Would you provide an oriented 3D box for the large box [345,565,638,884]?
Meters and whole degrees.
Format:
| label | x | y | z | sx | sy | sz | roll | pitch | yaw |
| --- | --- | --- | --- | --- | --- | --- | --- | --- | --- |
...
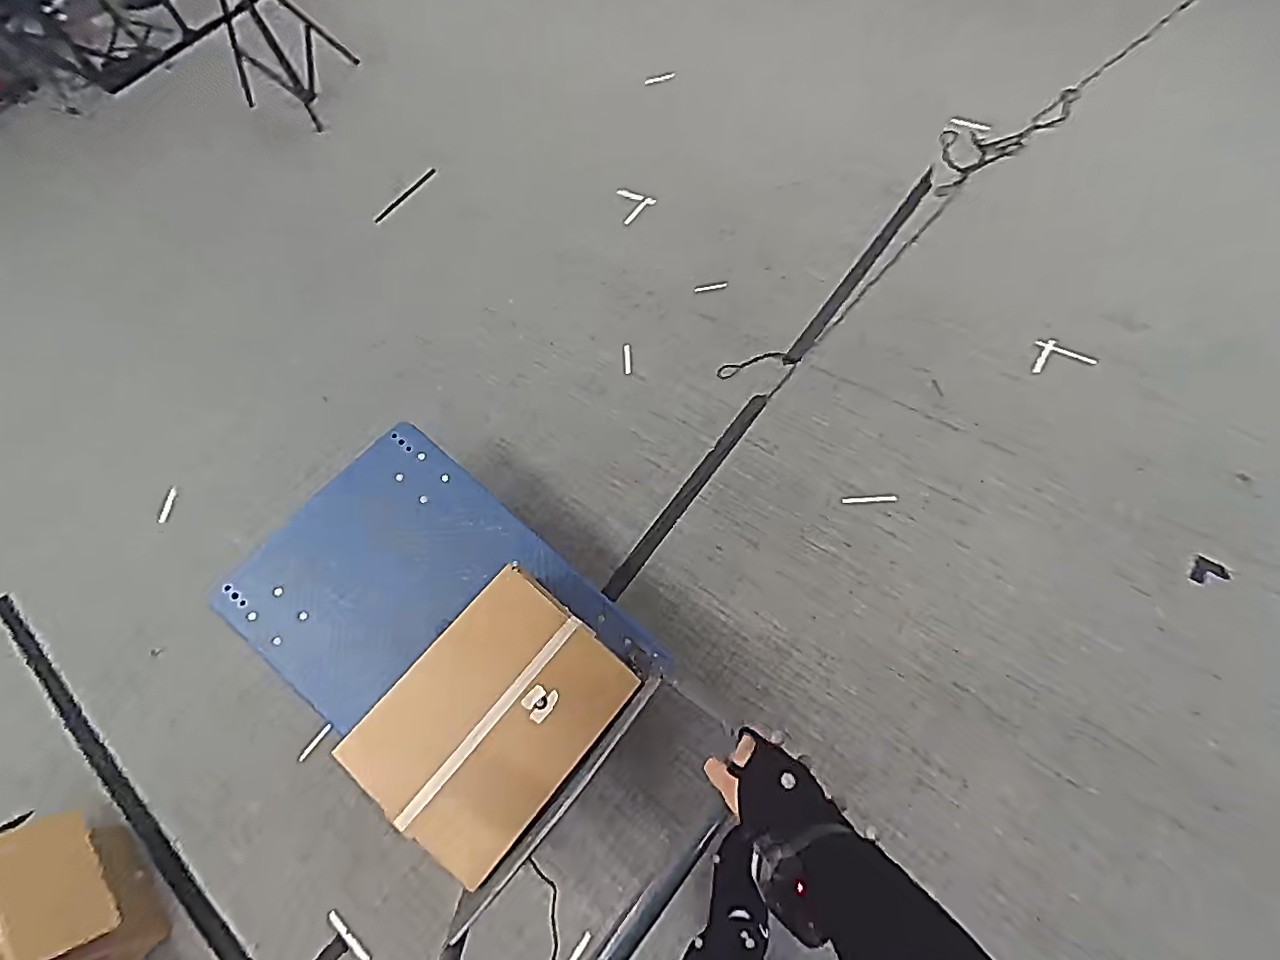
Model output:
| label | x | y | z | sx | sy | sz | roll | pitch | yaw |
| --- | --- | --- | --- | --- | --- | --- | --- | --- | --- |
| large box | -0.254 | 0.433 | 1.045 | 0.320 | 0.320 | 0.408 | 40 | 74 | 5 |
